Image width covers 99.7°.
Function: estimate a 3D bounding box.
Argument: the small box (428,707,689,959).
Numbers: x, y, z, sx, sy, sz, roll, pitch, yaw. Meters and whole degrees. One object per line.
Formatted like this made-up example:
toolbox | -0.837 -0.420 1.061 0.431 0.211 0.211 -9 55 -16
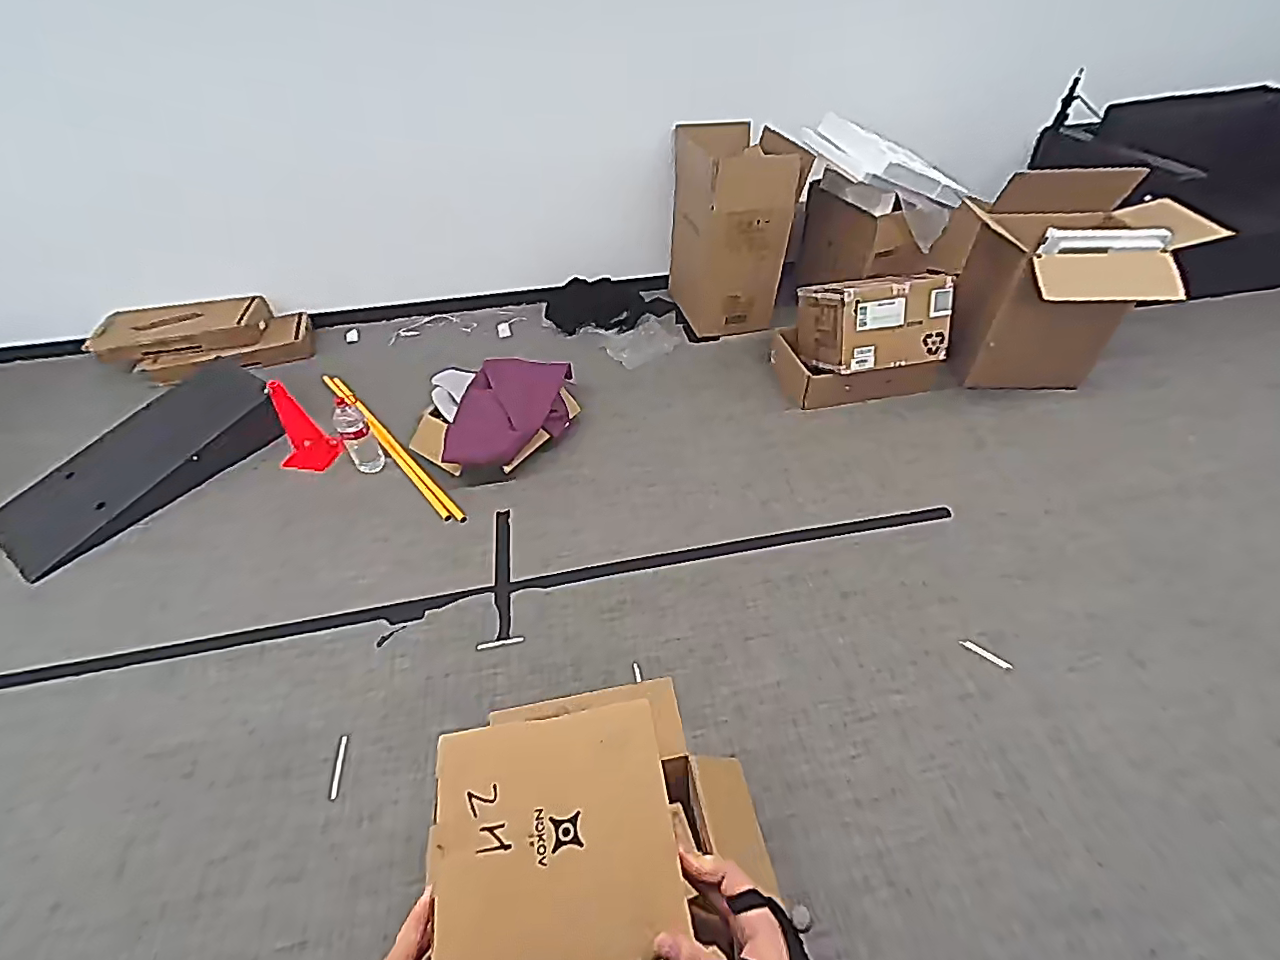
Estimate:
small box | -0.069 0.312 0.464 0.179 0.176 0.168 -8 54 -8
